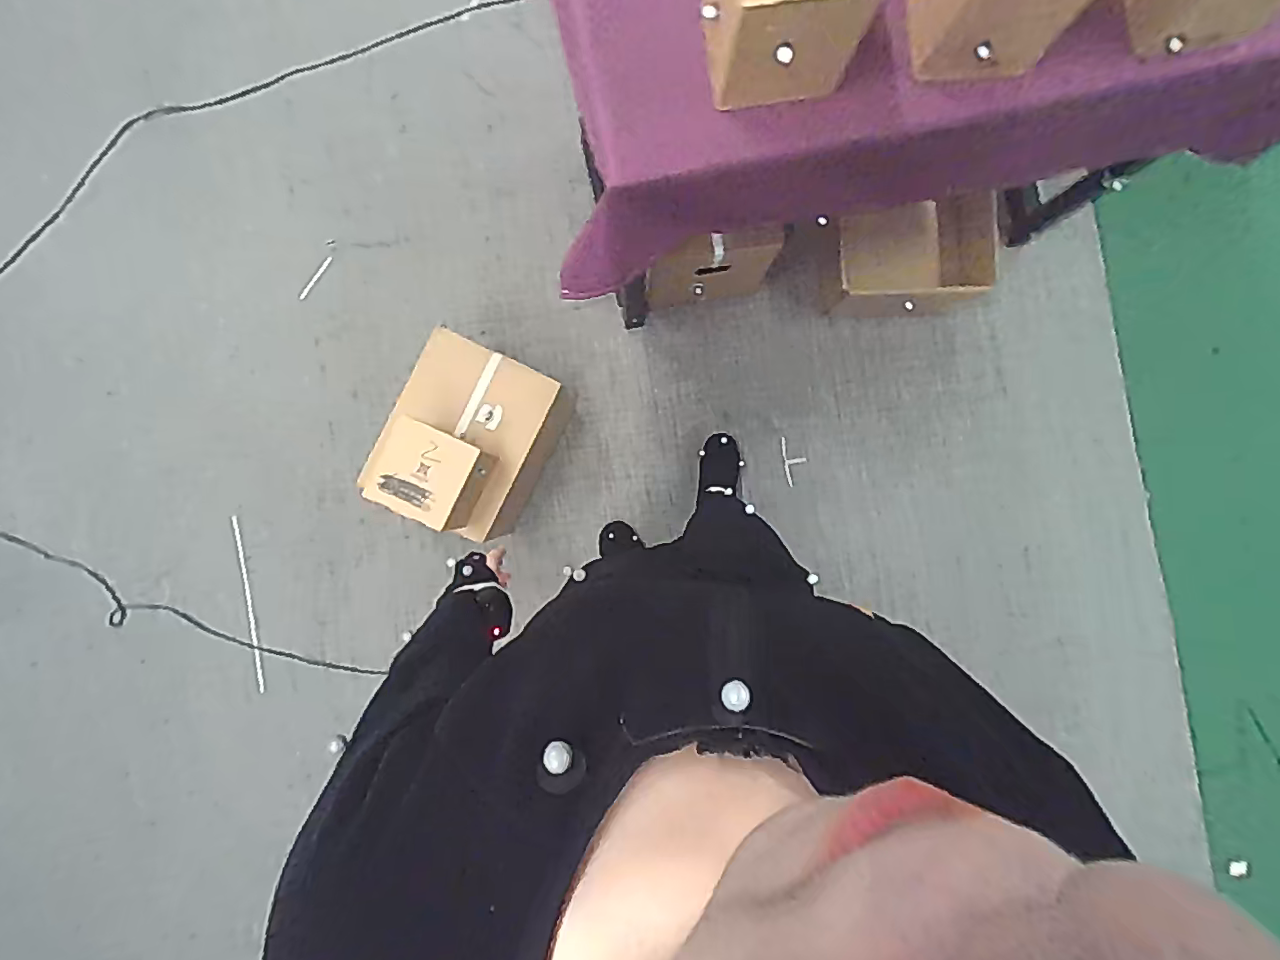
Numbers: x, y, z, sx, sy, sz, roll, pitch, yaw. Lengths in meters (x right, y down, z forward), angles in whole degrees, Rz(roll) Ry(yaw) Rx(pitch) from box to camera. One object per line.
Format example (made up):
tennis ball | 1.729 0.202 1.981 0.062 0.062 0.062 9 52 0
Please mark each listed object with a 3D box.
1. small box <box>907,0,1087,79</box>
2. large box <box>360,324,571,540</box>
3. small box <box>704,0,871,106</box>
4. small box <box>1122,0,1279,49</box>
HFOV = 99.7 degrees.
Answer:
small box | 0.477 -0.684 0.722 0.168 0.176 0.179 -4 89 -1
large box | -0.406 -0.100 1.348 0.320 0.320 0.408 26 87 -1
small box | 0.184 -0.632 0.712 0.179 0.176 0.168 -9 89 -1
small box | 0.796 -0.724 0.726 0.168 0.176 0.179 -9 88 -1
